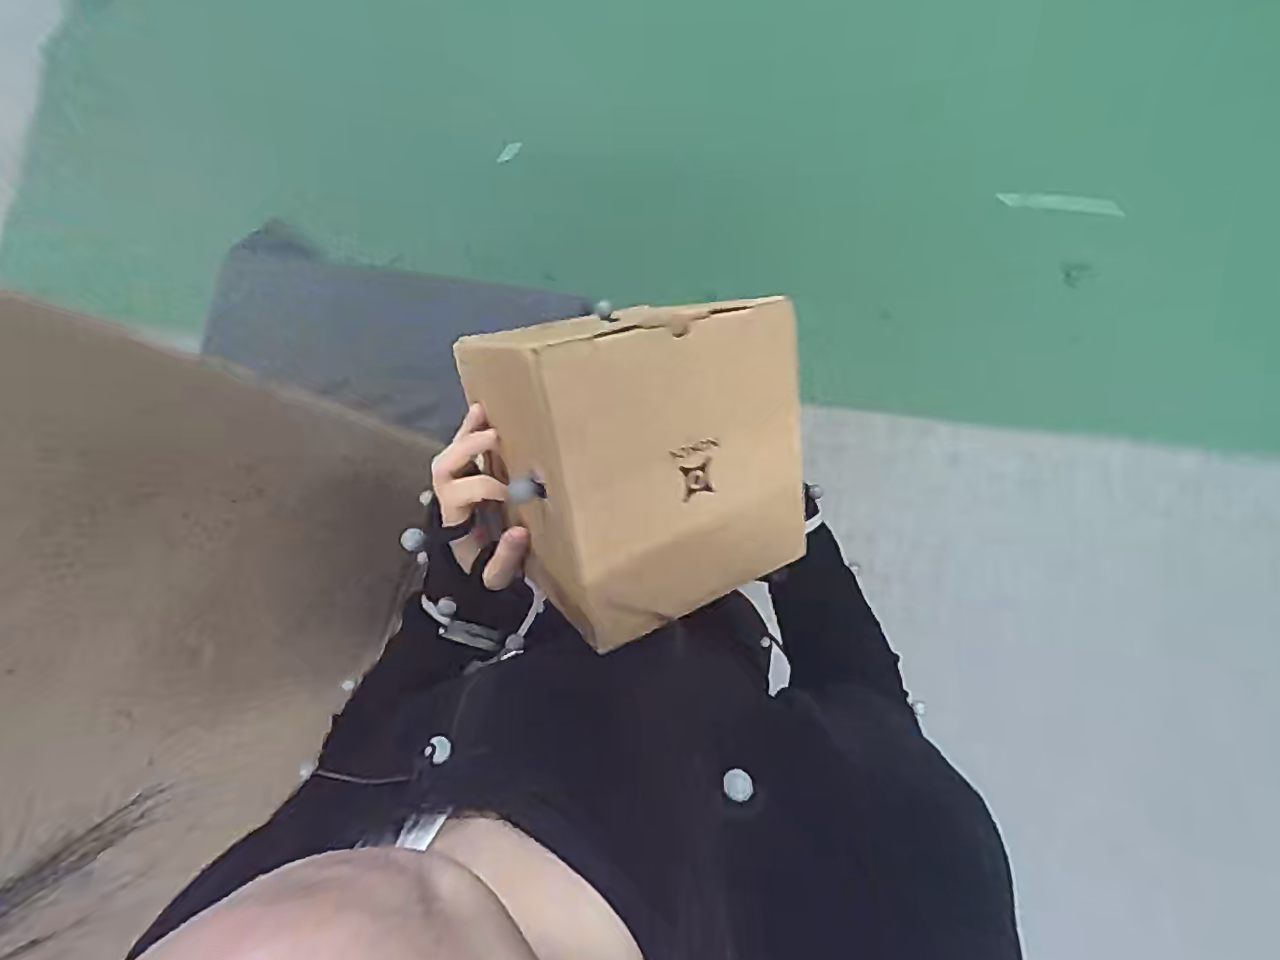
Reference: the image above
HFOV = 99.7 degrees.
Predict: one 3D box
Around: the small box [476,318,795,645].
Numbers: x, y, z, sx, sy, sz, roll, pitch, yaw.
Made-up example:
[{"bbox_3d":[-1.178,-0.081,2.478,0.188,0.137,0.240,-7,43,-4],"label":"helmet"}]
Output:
[{"bbox_3d":[-0.008,-0.018,0.395,0.168,0.176,0.179,-16,109,-25],"label":"small box"}]
